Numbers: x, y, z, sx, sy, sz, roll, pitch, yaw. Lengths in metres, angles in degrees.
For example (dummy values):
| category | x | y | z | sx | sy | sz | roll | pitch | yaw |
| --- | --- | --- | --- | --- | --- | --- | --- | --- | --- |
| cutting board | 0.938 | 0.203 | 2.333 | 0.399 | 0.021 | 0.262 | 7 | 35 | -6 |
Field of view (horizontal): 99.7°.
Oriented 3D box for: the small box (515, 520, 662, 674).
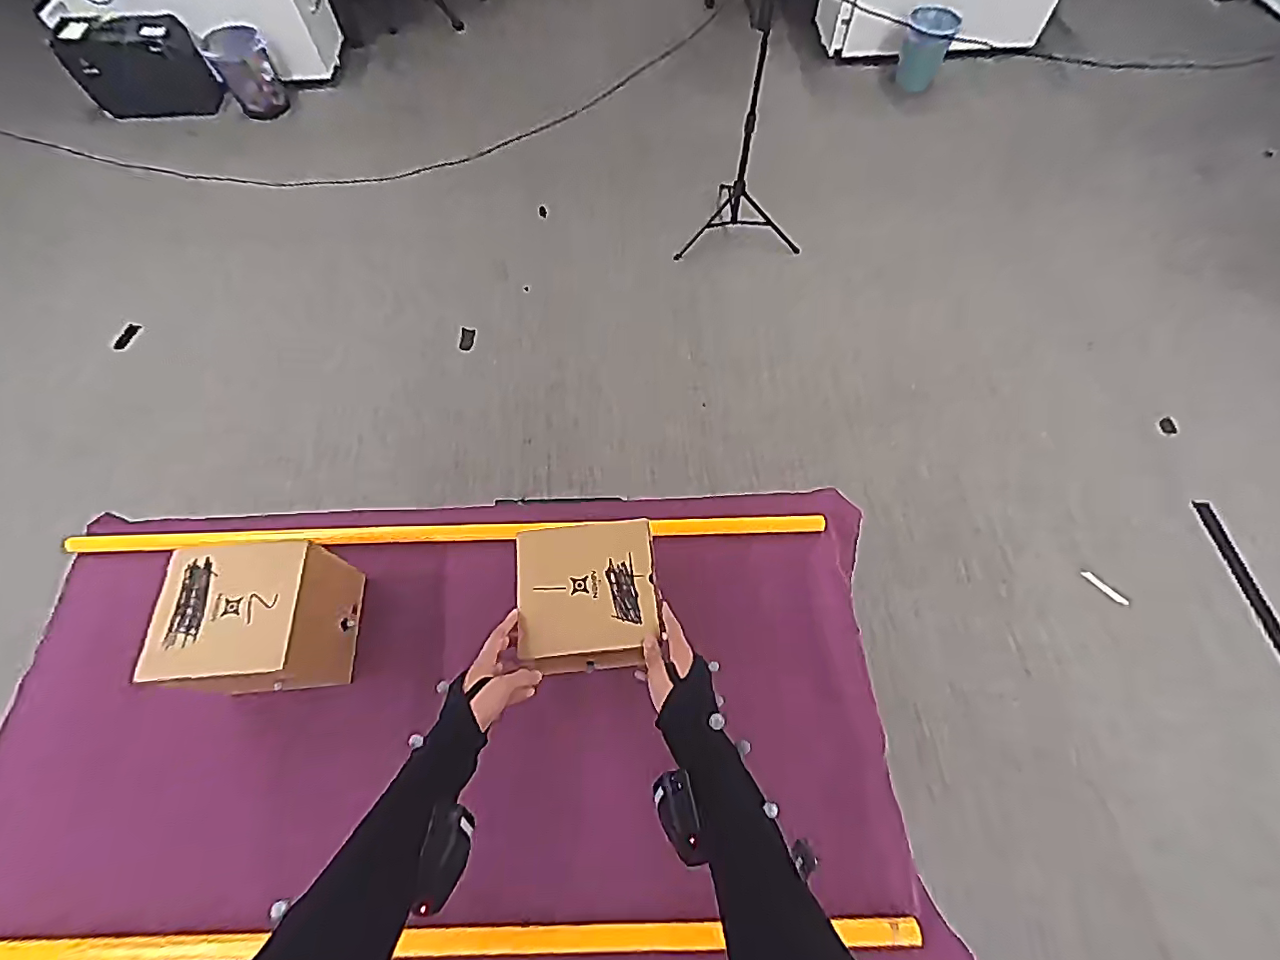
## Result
| category | x | y | z | sx | sy | sz | roll | pitch | yaw |
| --- | --- | --- | --- | --- | --- | --- | --- | --- | --- |
| small box | -0.066 | 0.166 | 0.741 | 0.179 | 0.176 | 0.168 | -6 | 64 | -1 |
